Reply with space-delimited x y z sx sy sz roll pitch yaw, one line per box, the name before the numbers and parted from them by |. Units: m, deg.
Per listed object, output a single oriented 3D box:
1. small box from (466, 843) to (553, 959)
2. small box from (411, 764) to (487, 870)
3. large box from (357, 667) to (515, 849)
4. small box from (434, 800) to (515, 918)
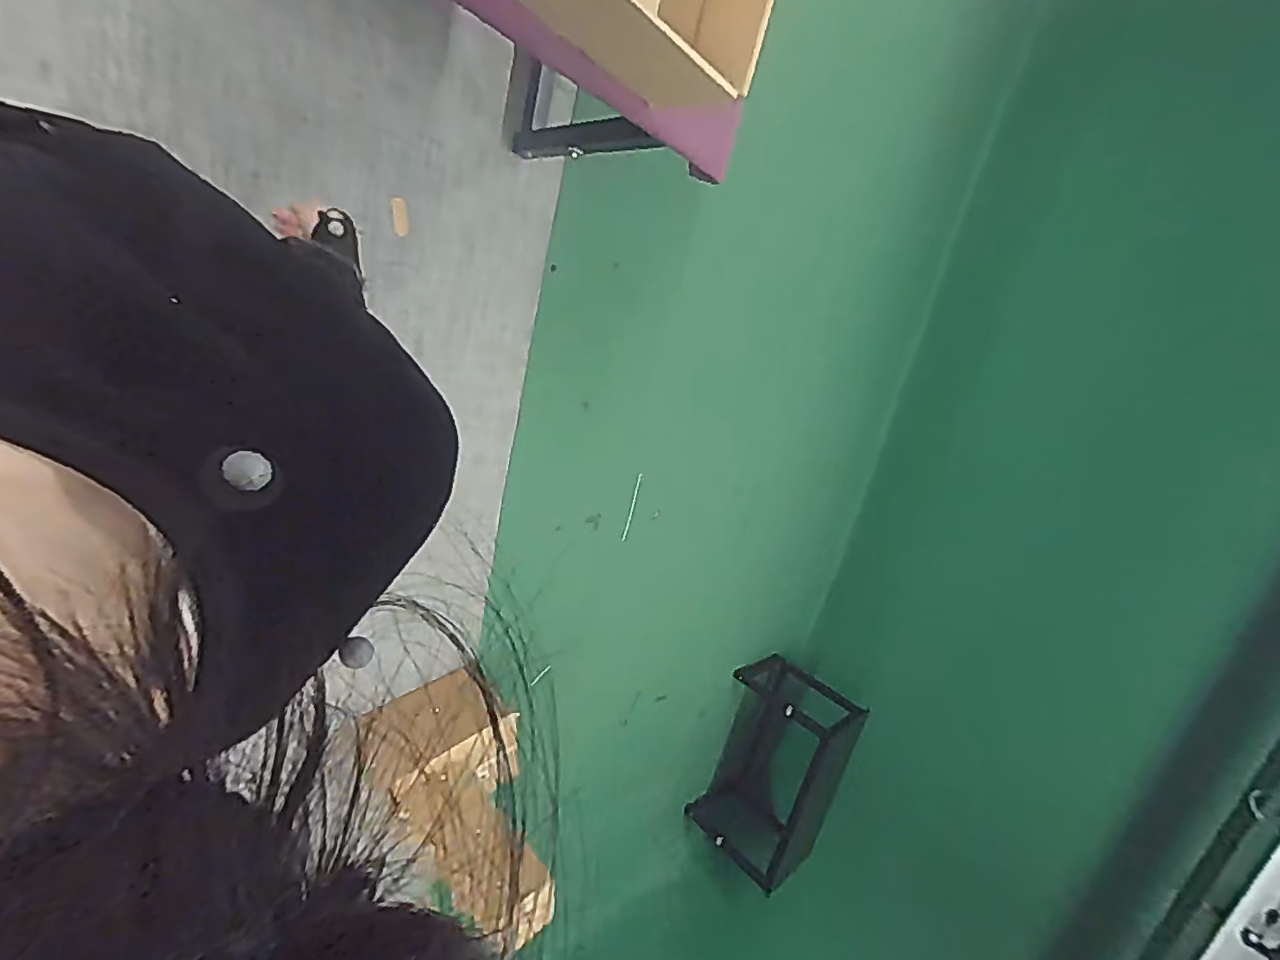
small box | -0.349 1.117 1.437 0.168 0.176 0.179 -17 121 -41
small box | -0.584 1.014 1.642 0.179 0.176 0.168 -13 119 -42
large box | -0.691 0.929 1.862 0.408 0.320 0.320 -19 124 -41
small box | -0.471 1.066 1.534 0.179 0.176 0.168 -19 122 -41
